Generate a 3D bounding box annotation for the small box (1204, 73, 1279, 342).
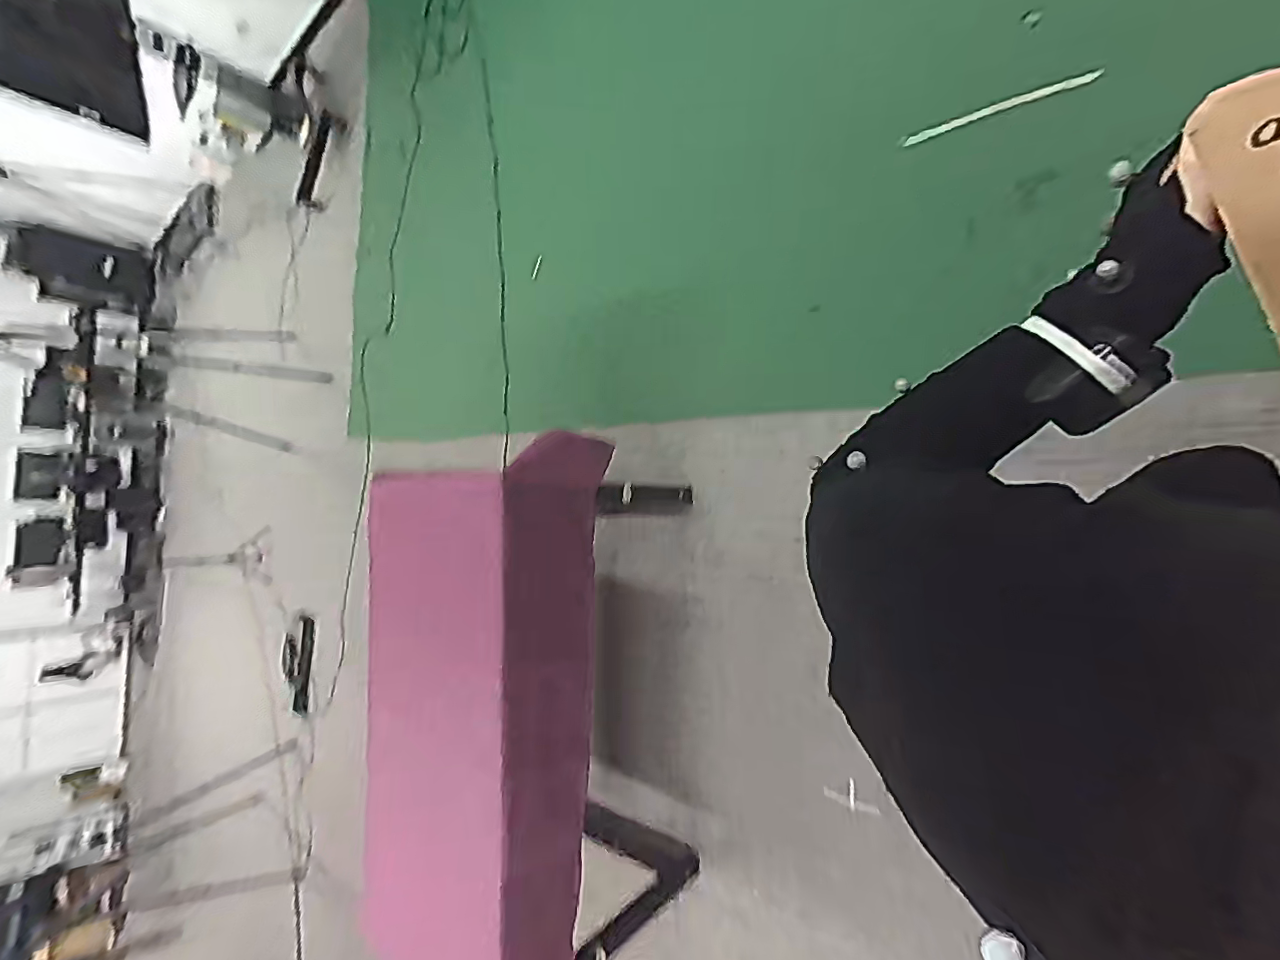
[{"bbox_3d":[0.498,-0.206,0.321,0.179,0.176,0.168,-17,100,58],"label":"small box"}]
